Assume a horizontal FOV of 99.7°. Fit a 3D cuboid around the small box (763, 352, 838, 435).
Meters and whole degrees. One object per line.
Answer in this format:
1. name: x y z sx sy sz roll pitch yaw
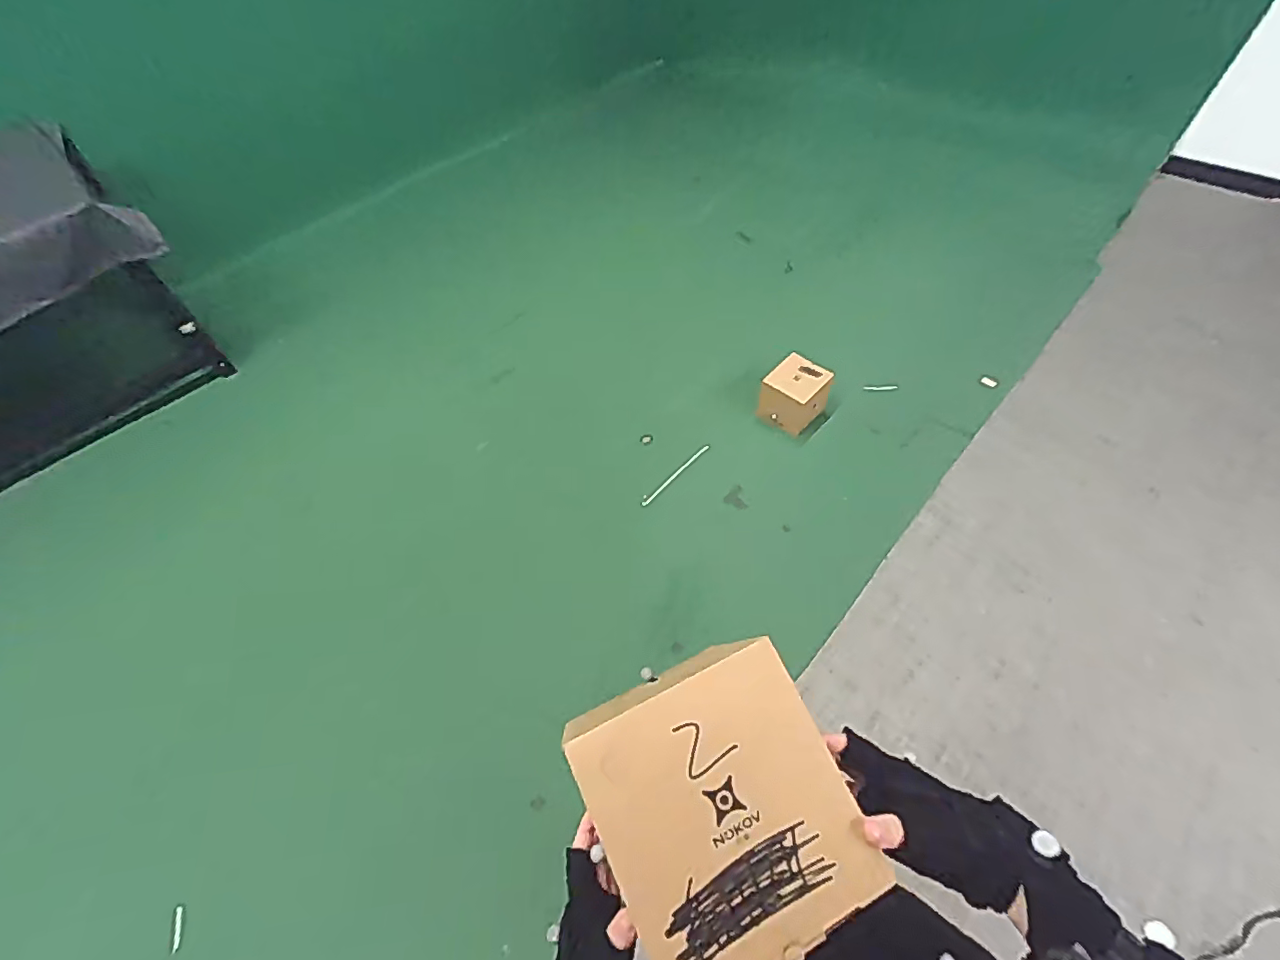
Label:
1. small box: 0.529 -0.288 1.812 0.168 0.176 0.179 38 67 26
